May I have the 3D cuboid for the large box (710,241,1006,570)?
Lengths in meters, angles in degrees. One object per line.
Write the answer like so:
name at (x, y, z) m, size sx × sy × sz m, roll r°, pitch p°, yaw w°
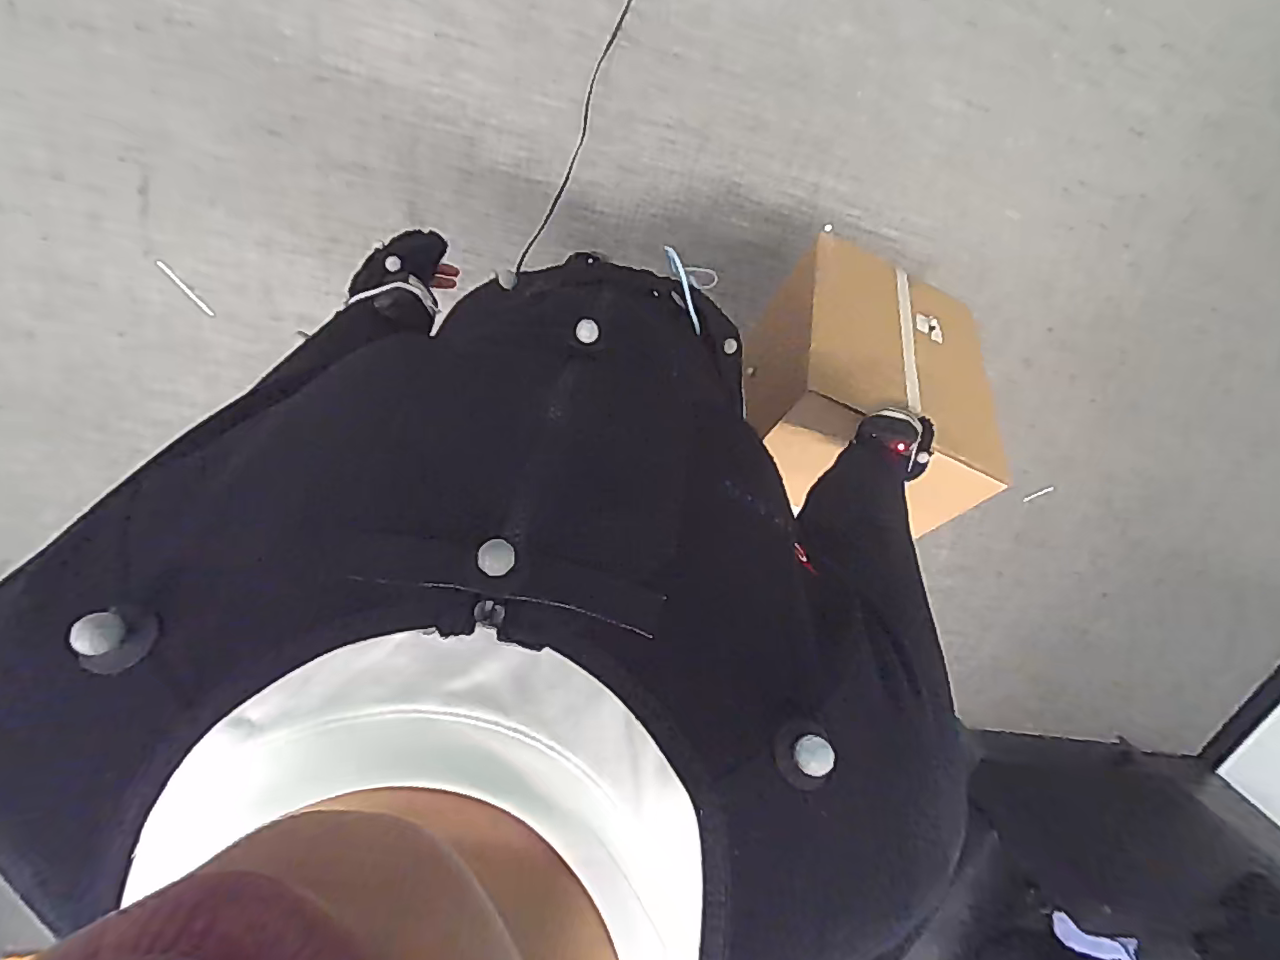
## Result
large box at (0.343, -0.119, 0.932) m, size 0.320 × 0.408 × 0.320 m, roll 24°, pitch 142°, yaw -9°
